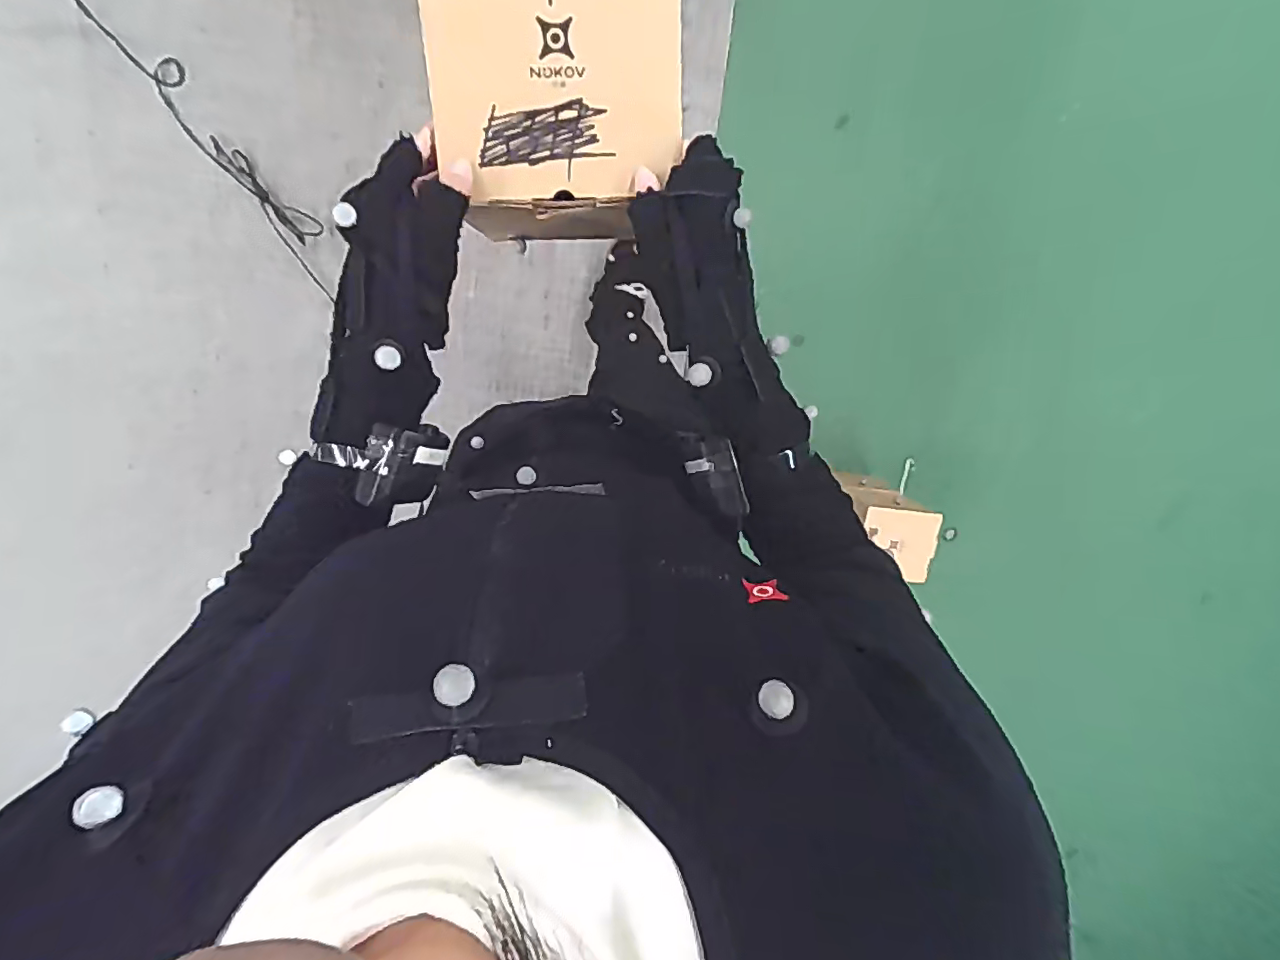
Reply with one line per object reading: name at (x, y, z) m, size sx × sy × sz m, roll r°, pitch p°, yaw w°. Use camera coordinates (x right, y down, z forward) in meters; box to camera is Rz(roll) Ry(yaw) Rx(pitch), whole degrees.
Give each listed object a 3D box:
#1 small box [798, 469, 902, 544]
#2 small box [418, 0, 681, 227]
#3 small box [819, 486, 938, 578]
small box at (0.538, 0.074, 1.407) m, size 0.179 × 0.176 × 0.168 m, roll 8°, pitch 102°, yaw -6°
small box at (-0.060, -0.300, 0.418) m, size 0.168 × 0.176 × 0.179 m, roll -3°, pitch 106°, yaw -3°
small box at (0.551, 0.115, 1.268) m, size 0.179 × 0.176 × 0.168 m, roll 6°, pitch 104°, yaw -7°
